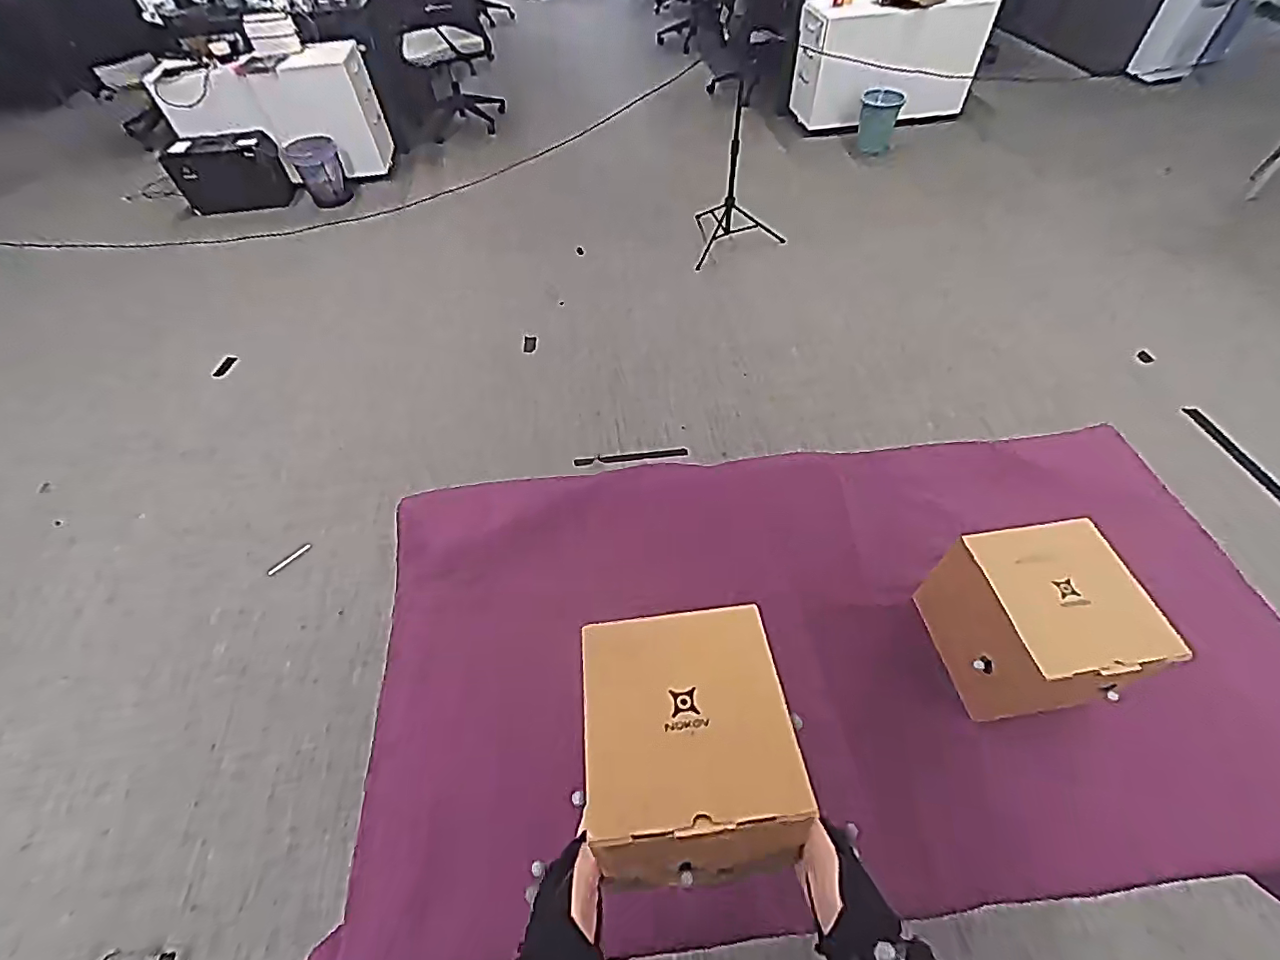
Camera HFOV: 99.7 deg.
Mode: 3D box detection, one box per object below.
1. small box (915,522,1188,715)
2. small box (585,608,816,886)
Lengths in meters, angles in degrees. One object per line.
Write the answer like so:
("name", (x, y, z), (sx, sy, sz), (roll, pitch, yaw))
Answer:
("small box", (0.476, 0.177, 0.664), (0.168, 0.176, 0.179), (-7, 52, -3))
("small box", (0.041, 0.245, 0.499), (0.168, 0.176, 0.179), (-7, 45, -2))
